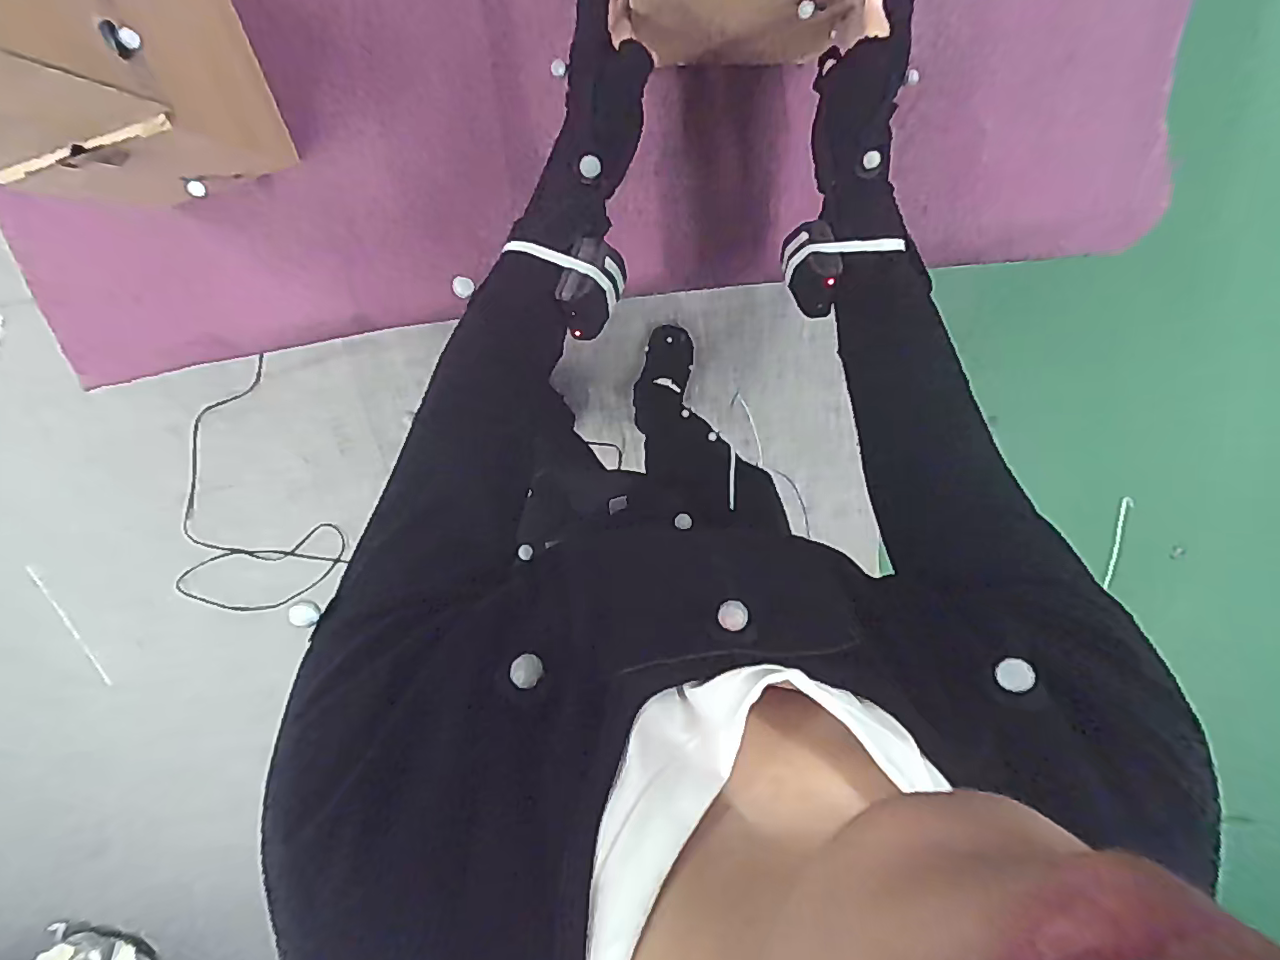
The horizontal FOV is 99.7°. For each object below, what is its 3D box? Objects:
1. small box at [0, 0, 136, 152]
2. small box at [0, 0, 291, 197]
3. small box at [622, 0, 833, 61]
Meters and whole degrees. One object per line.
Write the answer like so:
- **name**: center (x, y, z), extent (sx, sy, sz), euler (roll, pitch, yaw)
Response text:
- **small box**: center (-0.455, -0.308, 0.309), extent (0.179, 0.176, 0.168), euler (-11, 109, 5)
- **small box**: center (-0.457, -0.366, 0.466), extent (0.168, 0.176, 0.179), euler (-12, 111, 7)
- **small box**: center (0.071, -0.451, 0.417), extent (0.179, 0.176, 0.168), euler (-1, 110, 2)
